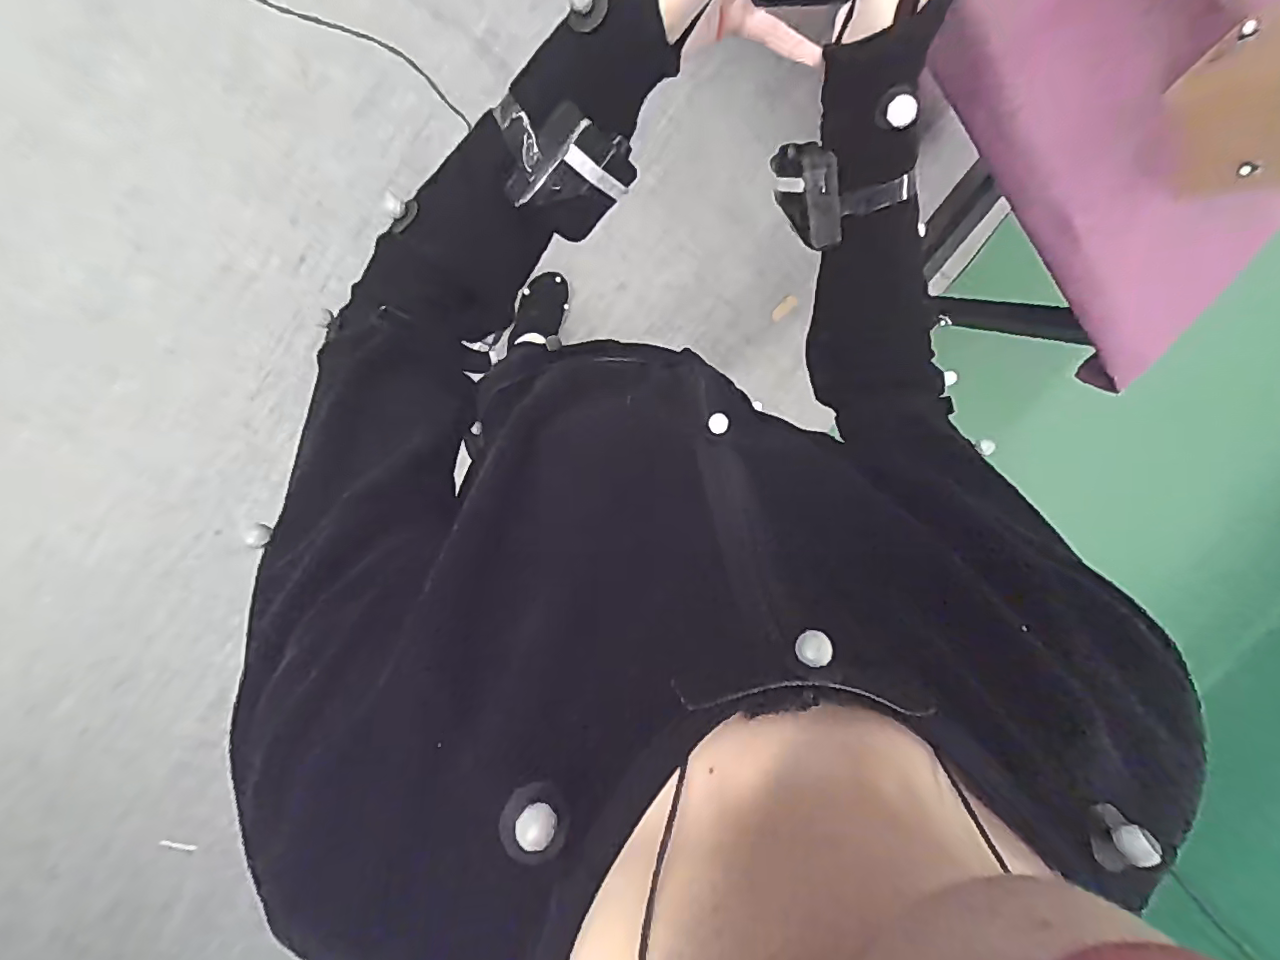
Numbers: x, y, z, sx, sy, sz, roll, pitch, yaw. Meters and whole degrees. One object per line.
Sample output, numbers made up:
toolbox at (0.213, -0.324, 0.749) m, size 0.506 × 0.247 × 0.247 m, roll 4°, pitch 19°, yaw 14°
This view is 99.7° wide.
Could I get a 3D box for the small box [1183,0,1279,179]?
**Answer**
small box at (0.888, -0.529, 0.716) m, size 0.168 × 0.176 × 0.179 m, roll -44°, pitch 116°, yaw 4°
